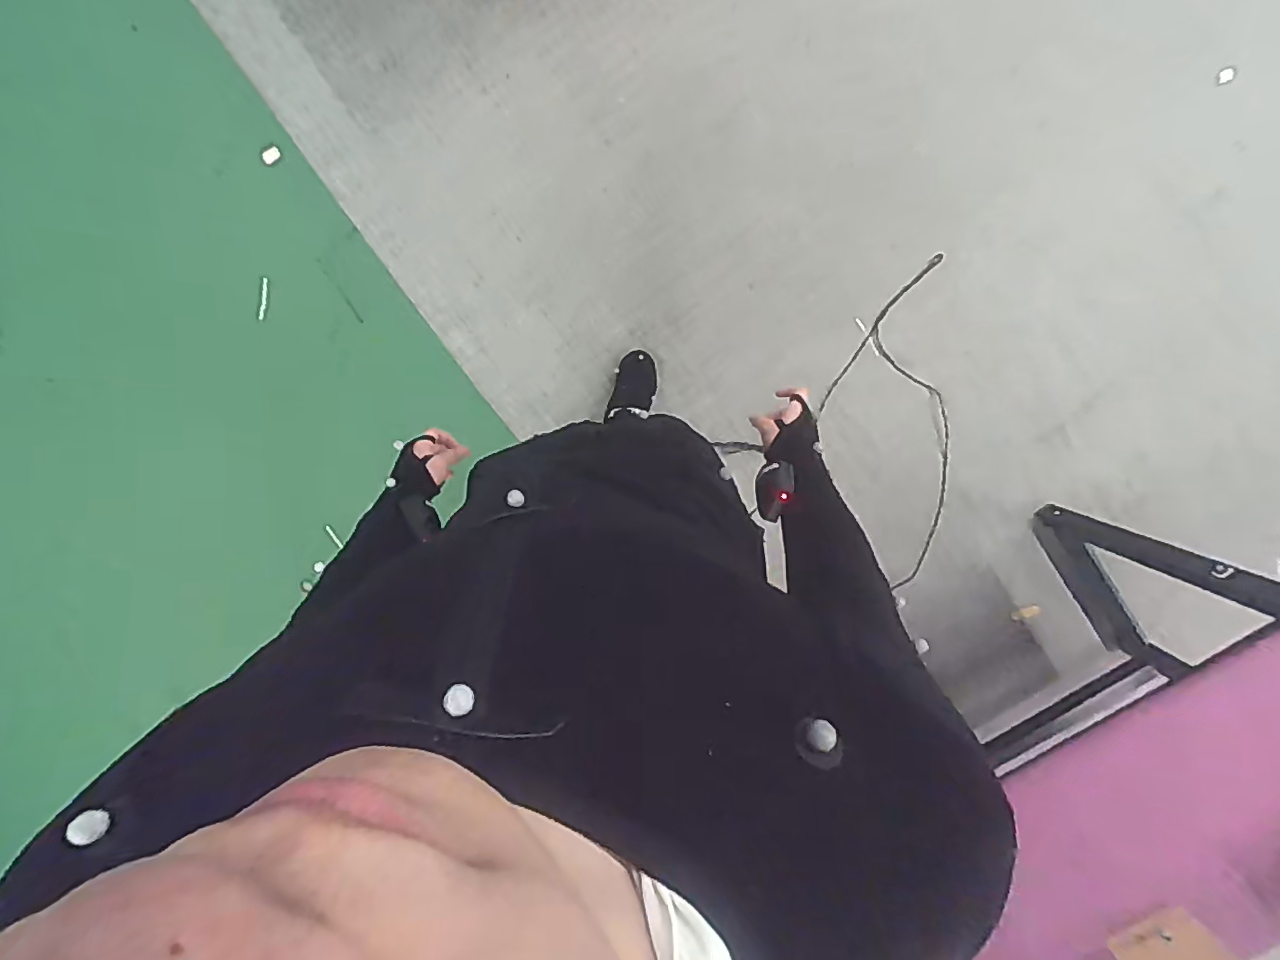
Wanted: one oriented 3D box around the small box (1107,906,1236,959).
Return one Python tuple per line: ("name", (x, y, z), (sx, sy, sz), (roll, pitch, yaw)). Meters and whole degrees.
("small box", (1.021, 0.939, 0.981), (0.168, 0.176, 0.179), (-36, 98, 6))
